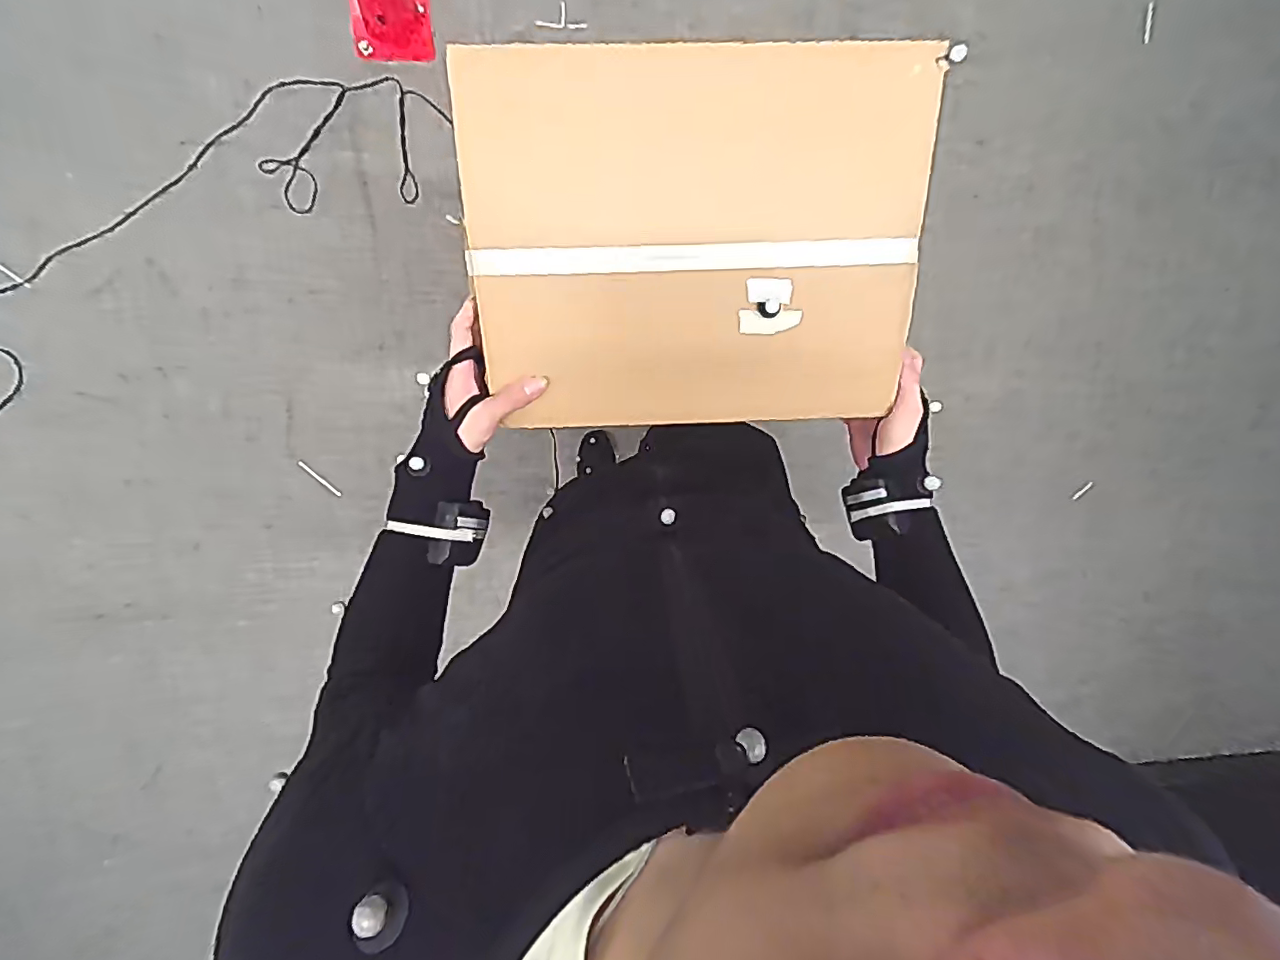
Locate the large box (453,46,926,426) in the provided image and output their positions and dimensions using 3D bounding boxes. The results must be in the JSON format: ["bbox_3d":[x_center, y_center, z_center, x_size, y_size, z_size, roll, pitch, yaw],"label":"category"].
[{"bbox_3d":[0.040,-0.261,0.636,0.408,0.320,0.320,-3,112,-3],"label":"large box"}]
